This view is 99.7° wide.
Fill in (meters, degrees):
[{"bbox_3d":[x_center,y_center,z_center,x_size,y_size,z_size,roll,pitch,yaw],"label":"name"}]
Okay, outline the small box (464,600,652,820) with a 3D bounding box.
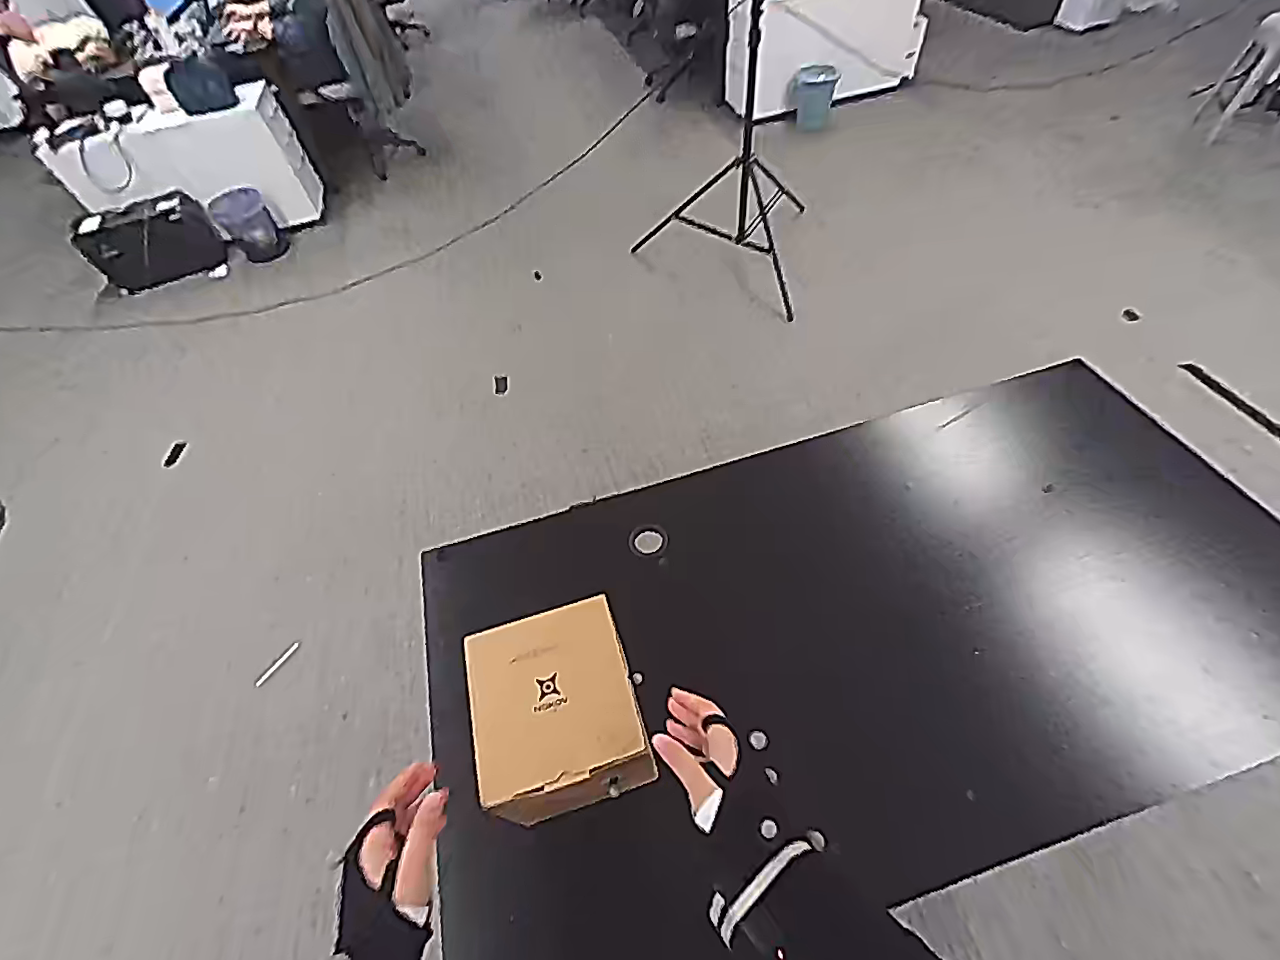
[{"bbox_3d":[-0.089,0.272,0.626,0.168,0.176,0.179,-16,52,-7],"label":"small box"}]
